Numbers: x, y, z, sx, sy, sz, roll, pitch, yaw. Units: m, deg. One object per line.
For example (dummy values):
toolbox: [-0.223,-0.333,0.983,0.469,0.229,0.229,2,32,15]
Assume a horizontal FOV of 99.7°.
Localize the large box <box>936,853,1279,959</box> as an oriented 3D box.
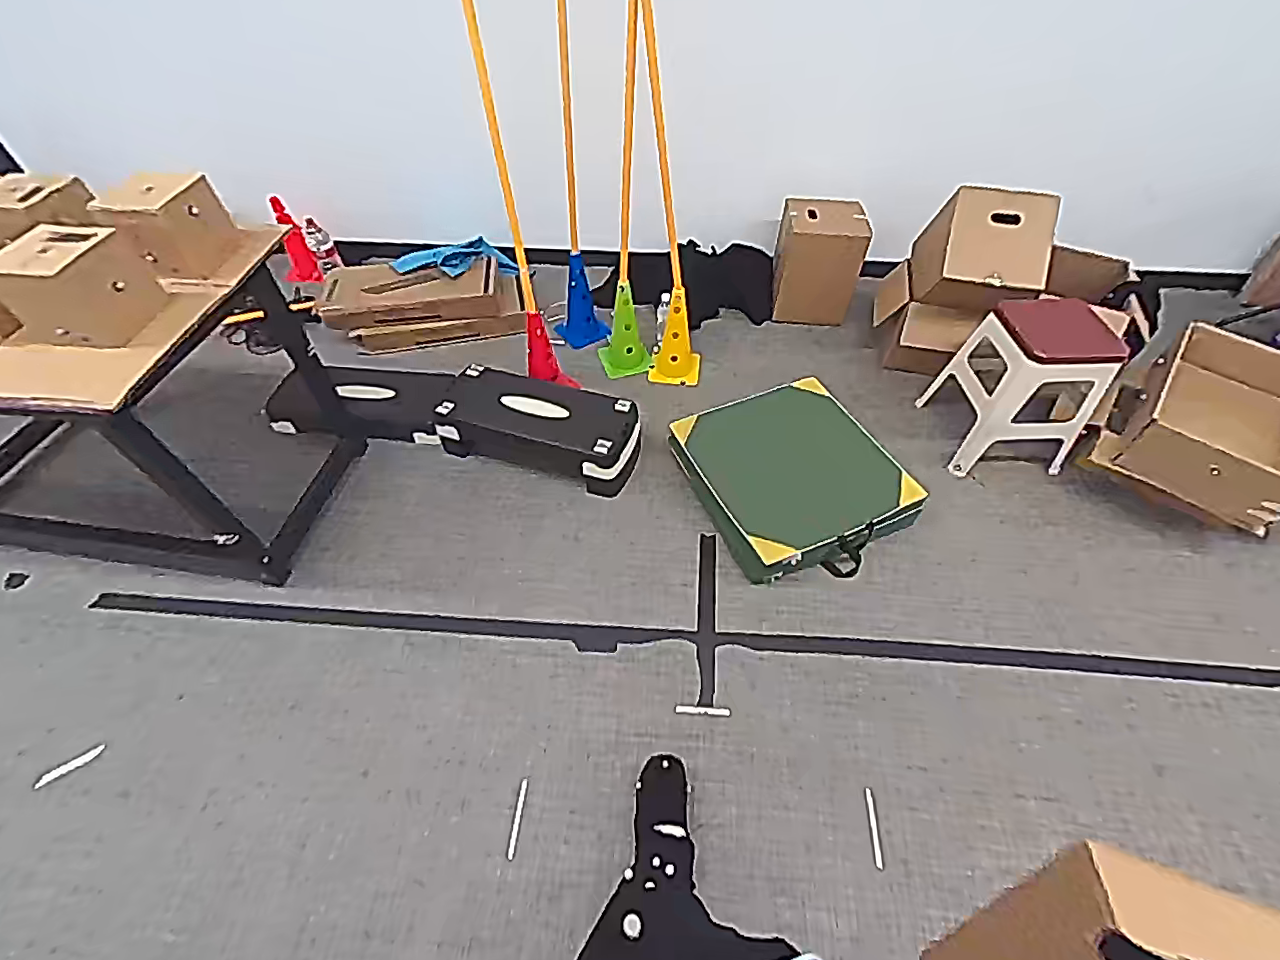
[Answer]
large box: [0.557,0.692,0.559,0.320,0.408,0.320,19,35,12]
